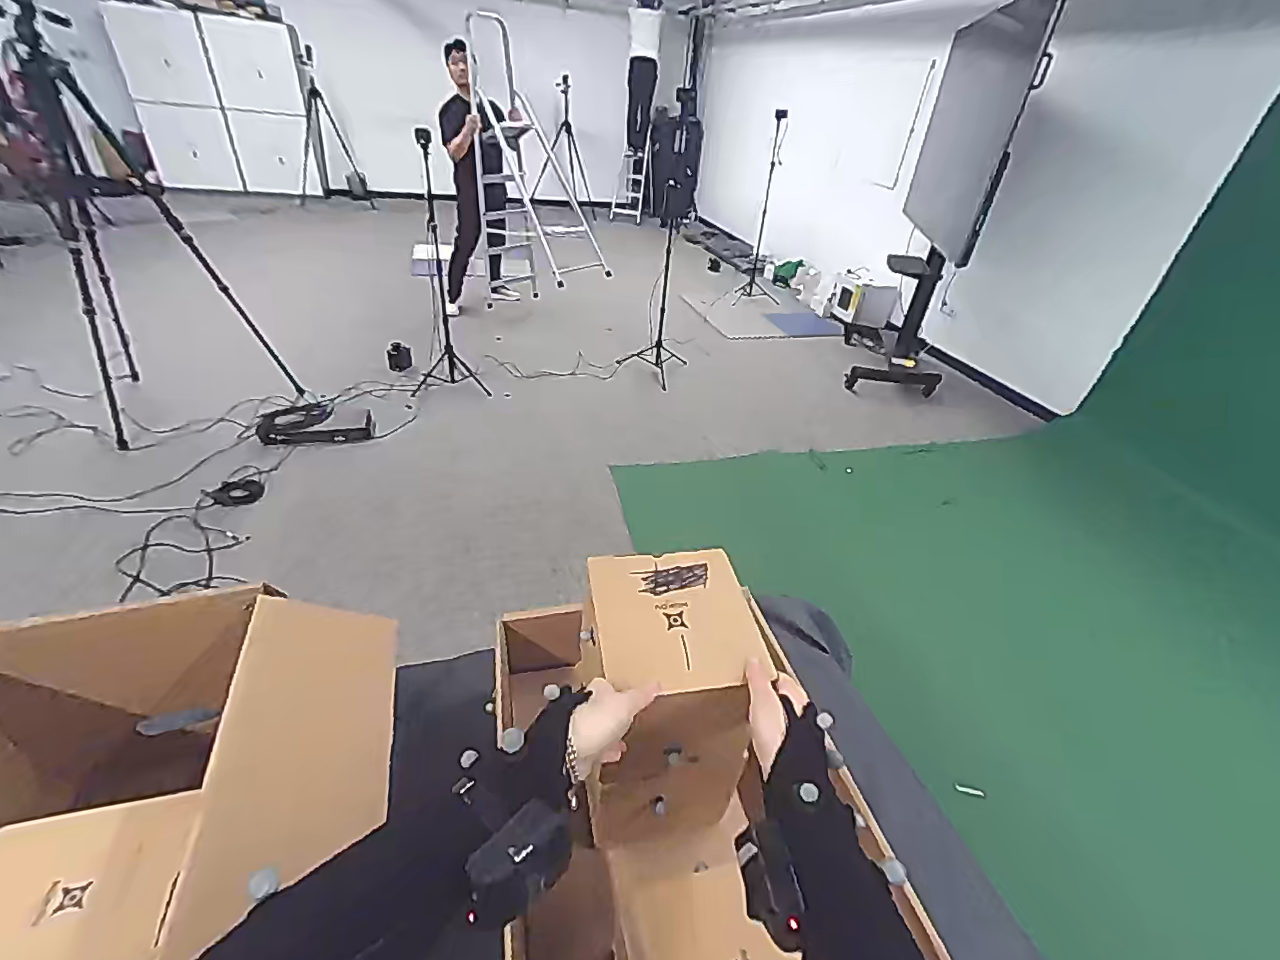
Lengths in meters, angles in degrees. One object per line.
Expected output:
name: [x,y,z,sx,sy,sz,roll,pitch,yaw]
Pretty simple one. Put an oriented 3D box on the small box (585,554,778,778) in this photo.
small box: [0.029,0.205,0.613,0.168,0.176,0.179,-1,41,-12]
